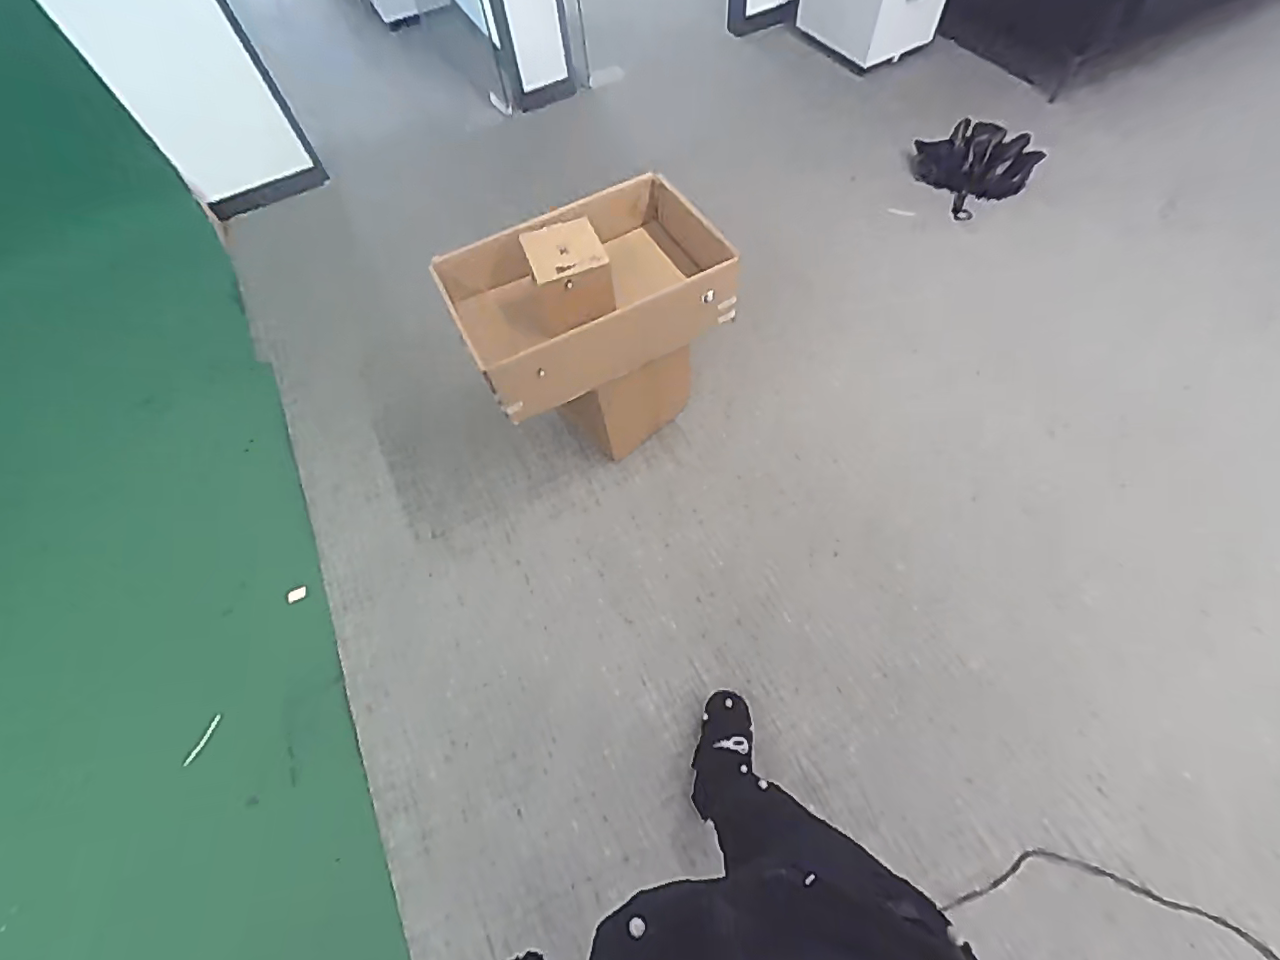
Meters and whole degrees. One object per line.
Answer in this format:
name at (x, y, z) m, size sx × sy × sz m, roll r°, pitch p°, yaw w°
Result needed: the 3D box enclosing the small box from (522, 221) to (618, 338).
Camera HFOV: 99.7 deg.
small box at (-0.161, -0.467, 1.271) m, size 0.168 × 0.176 × 0.179 m, roll -20°, pitch 60°, yaw -6°
